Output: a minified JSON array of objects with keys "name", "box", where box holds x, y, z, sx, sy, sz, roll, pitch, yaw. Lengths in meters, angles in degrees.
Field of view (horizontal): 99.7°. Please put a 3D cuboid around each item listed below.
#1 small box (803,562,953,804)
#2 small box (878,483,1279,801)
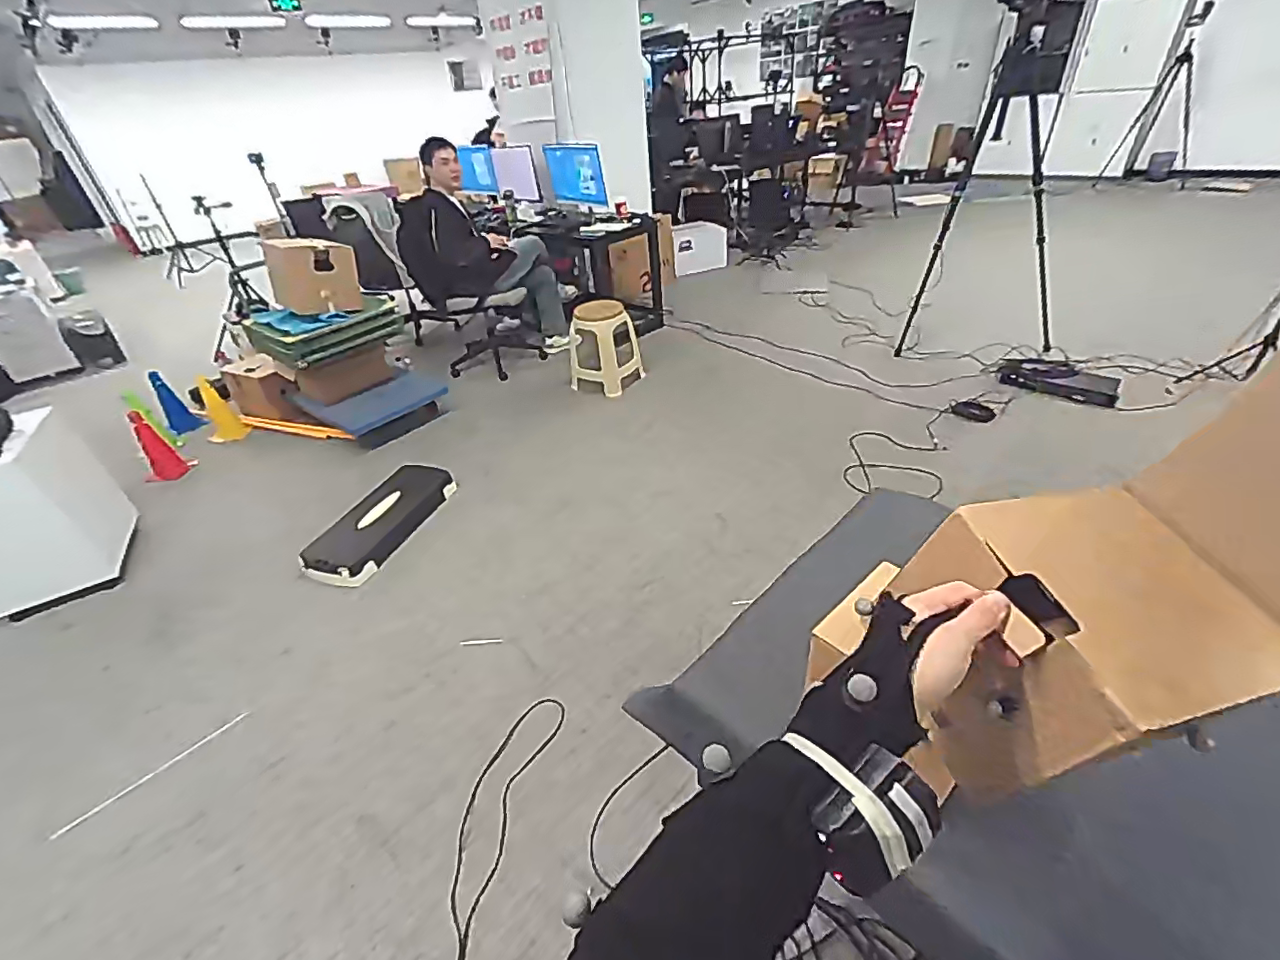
[{"name":"small box","box":[0.316,0.237,0.648,0.168,0.176,0.179,-30,42,-31]},{"name":"small box","box":[0.315,0.124,0.416,0.179,0.176,0.168,-5,49,-16]}]
